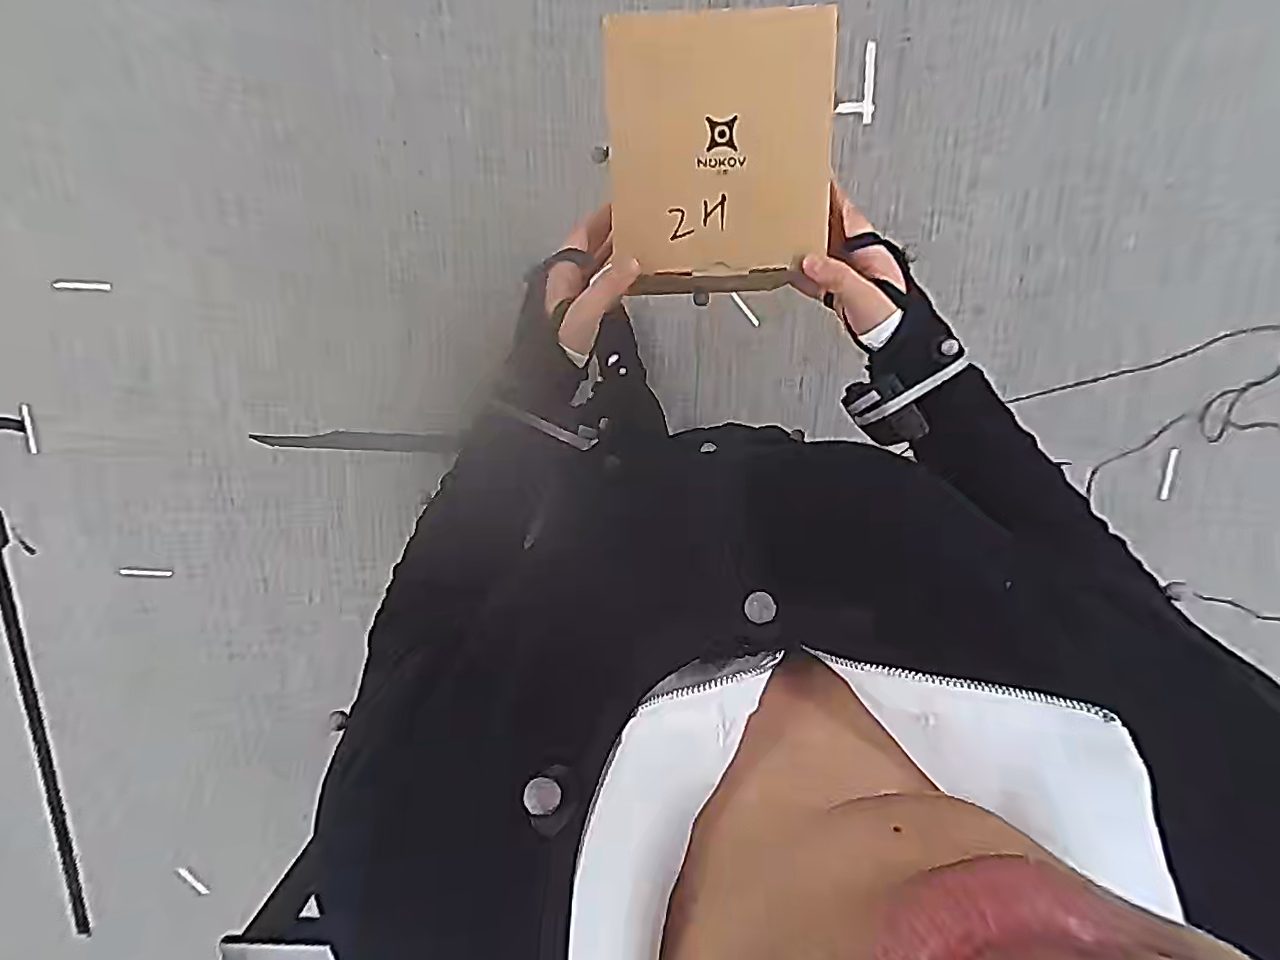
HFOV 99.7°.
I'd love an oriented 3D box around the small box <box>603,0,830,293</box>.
[{"bbox_3d":[0.054,-0.268,0.475,0.168,0.176,0.179,-2,103,0],"label":"small box"}]
